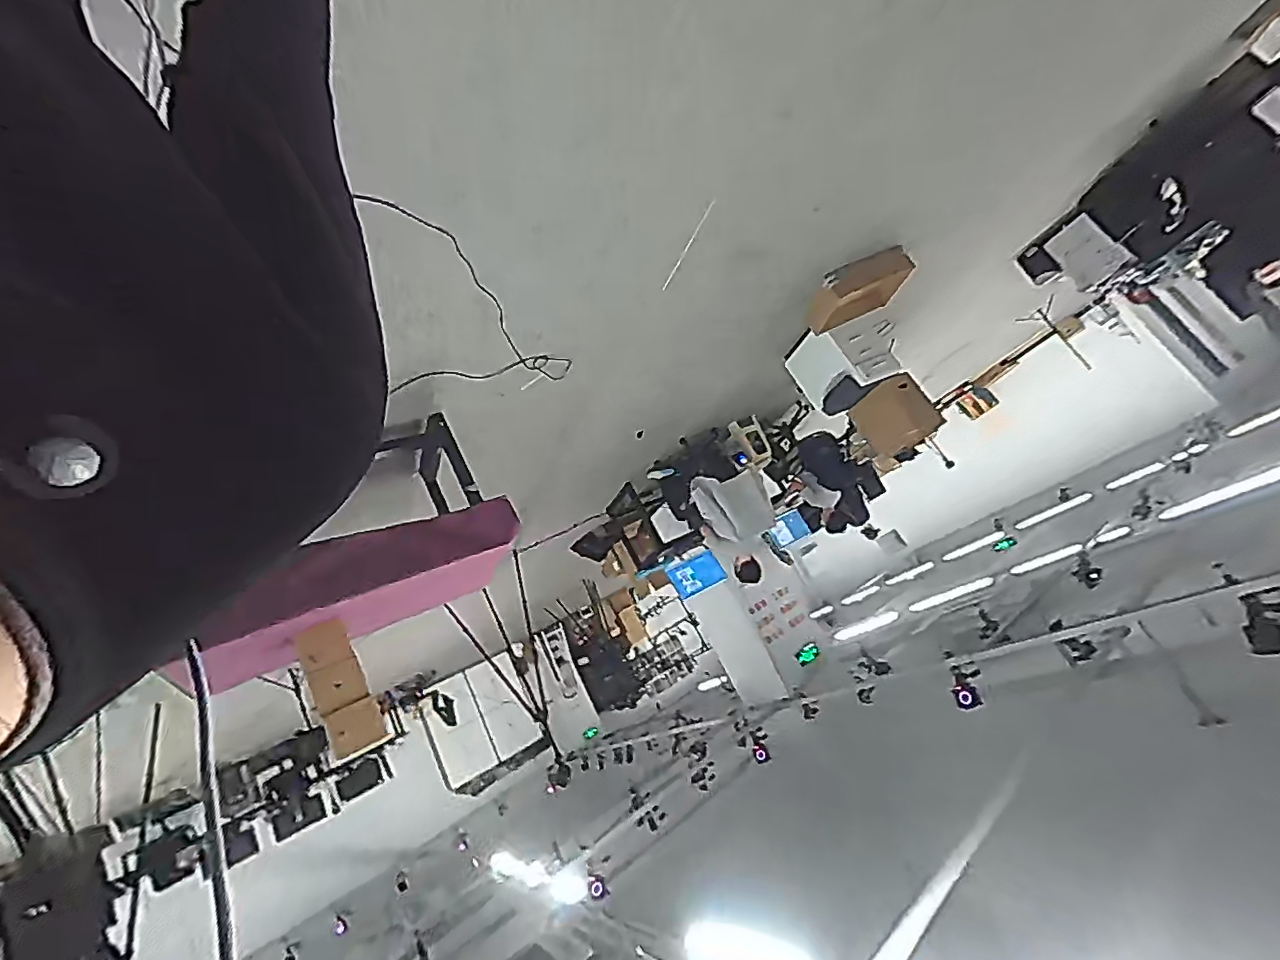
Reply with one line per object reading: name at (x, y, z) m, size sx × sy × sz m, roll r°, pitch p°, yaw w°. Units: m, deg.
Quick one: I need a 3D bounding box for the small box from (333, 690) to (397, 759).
small box at (-1.041, 0.920, 2.038) m, size 0.179 × 0.176 × 0.168 m, roll -18°, pitch 162°, yaw -36°

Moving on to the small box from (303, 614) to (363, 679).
small box at (-1.211, 0.654, 2.128) m, size 0.179 × 0.176 × 0.168 m, roll -18°, pitch 161°, yaw -36°
